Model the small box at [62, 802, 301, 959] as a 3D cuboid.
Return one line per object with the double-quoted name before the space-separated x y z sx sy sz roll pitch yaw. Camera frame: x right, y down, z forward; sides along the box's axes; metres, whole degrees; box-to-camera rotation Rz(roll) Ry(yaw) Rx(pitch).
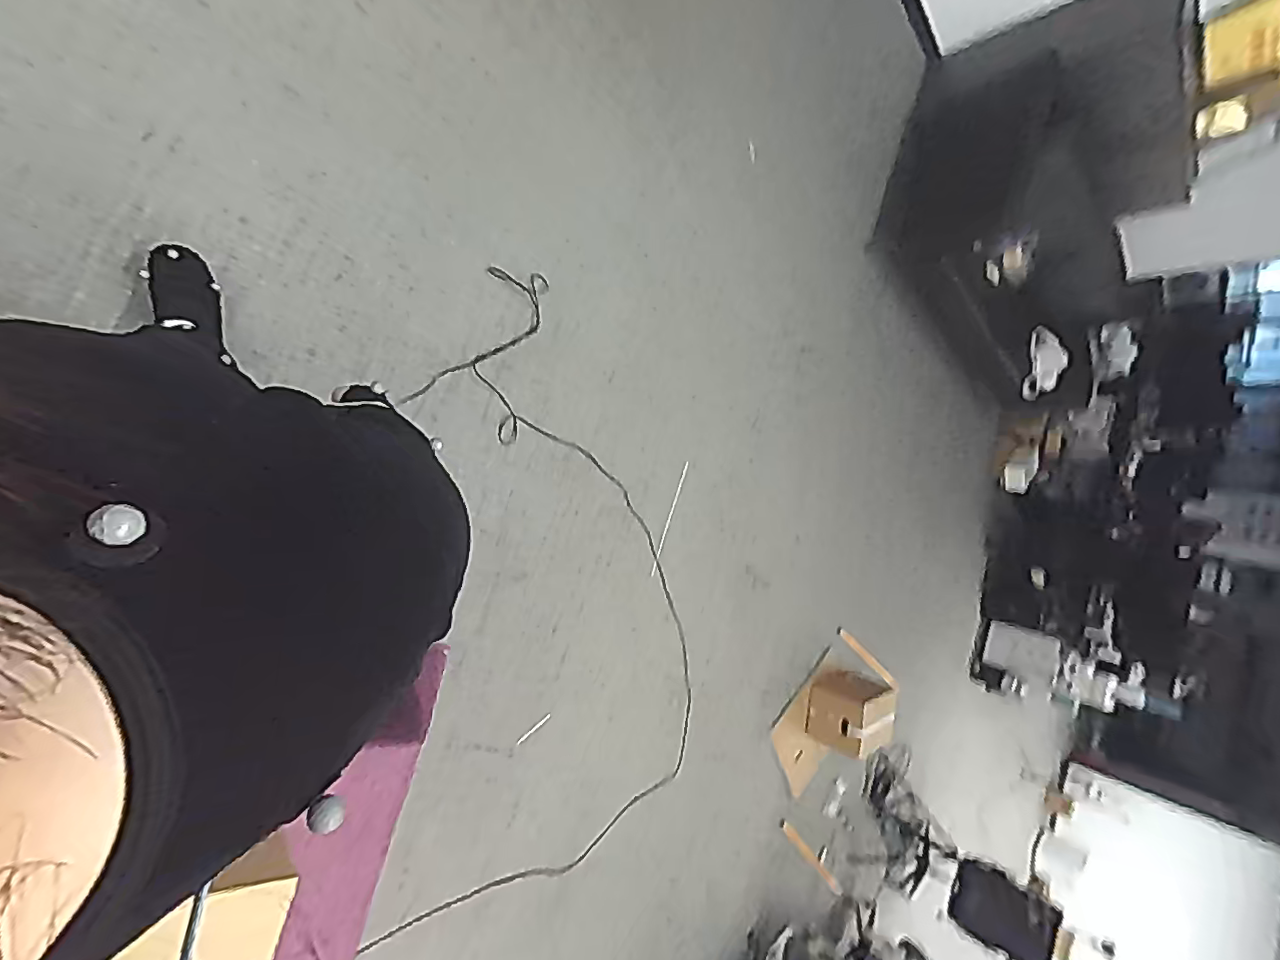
"small box" -0.504 0.482 0.592 0.168 0.176 0.179 21 83 -41
